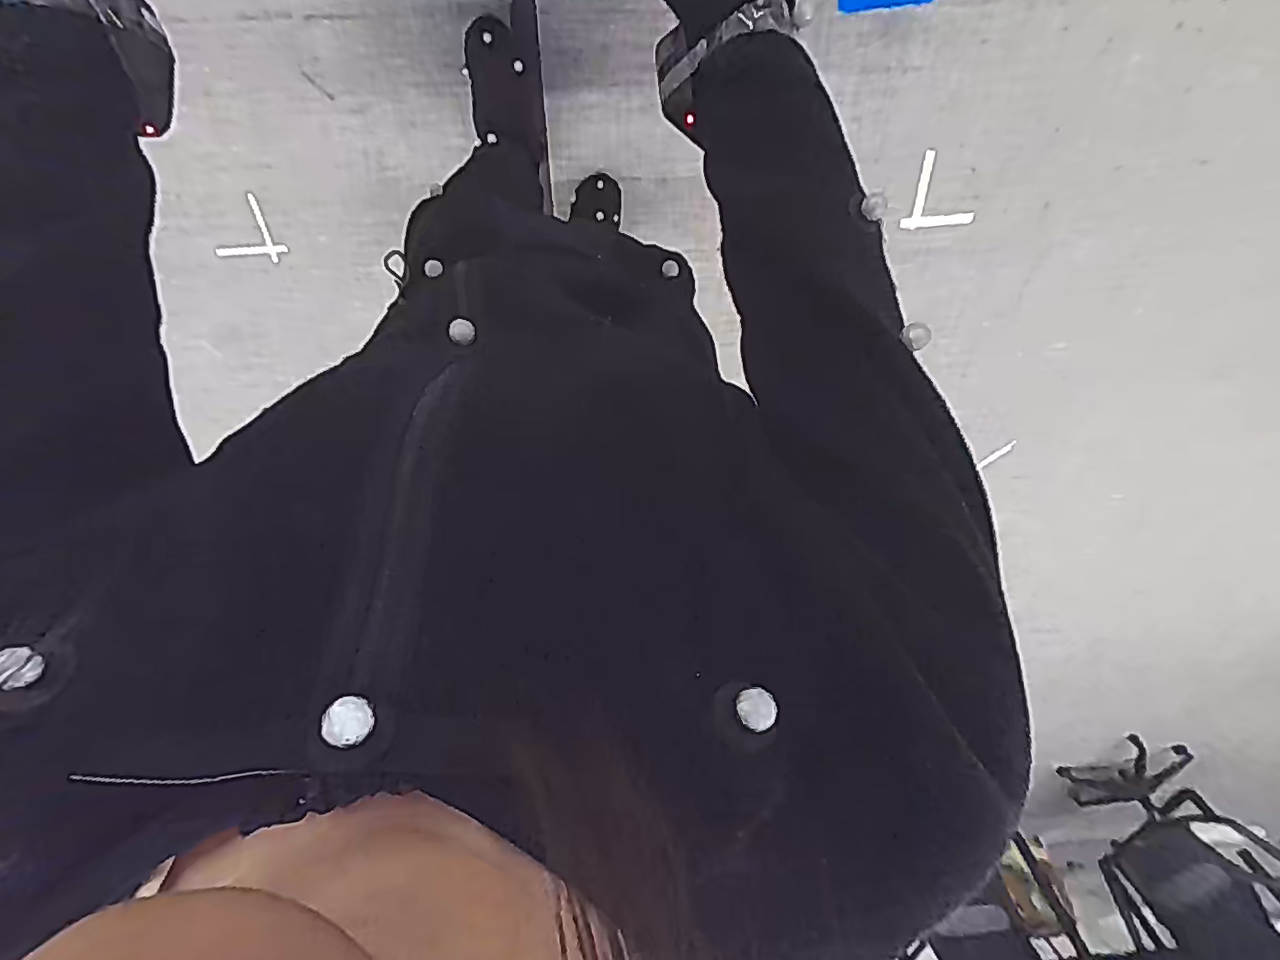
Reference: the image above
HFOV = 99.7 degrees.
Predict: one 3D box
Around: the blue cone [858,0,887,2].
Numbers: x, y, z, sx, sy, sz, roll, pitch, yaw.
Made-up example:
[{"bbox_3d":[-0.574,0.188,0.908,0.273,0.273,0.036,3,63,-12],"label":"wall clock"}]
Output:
[{"bbox_3d":[0.480,-0.890,0.829,0.193,0.380,0.192,-6,125,-1],"label":"blue cone"}]
